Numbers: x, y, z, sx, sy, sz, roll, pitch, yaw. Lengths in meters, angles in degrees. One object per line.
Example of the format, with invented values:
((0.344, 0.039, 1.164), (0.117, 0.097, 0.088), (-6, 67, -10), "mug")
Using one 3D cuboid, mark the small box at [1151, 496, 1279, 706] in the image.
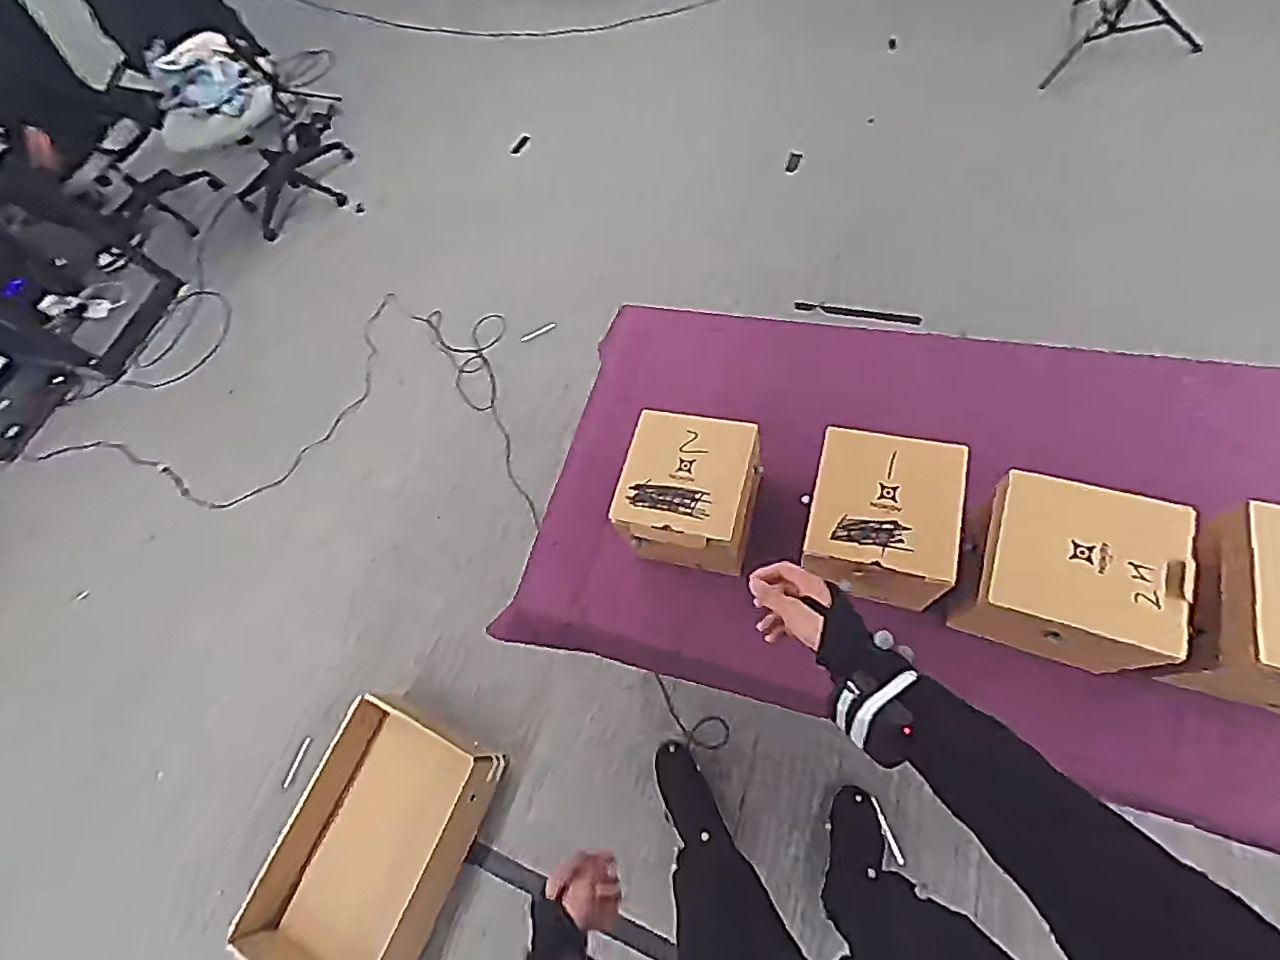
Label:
((0.696, 0.142, 0.577), (0.168, 0.176, 0.179), (13, 70, 19), "small box")
